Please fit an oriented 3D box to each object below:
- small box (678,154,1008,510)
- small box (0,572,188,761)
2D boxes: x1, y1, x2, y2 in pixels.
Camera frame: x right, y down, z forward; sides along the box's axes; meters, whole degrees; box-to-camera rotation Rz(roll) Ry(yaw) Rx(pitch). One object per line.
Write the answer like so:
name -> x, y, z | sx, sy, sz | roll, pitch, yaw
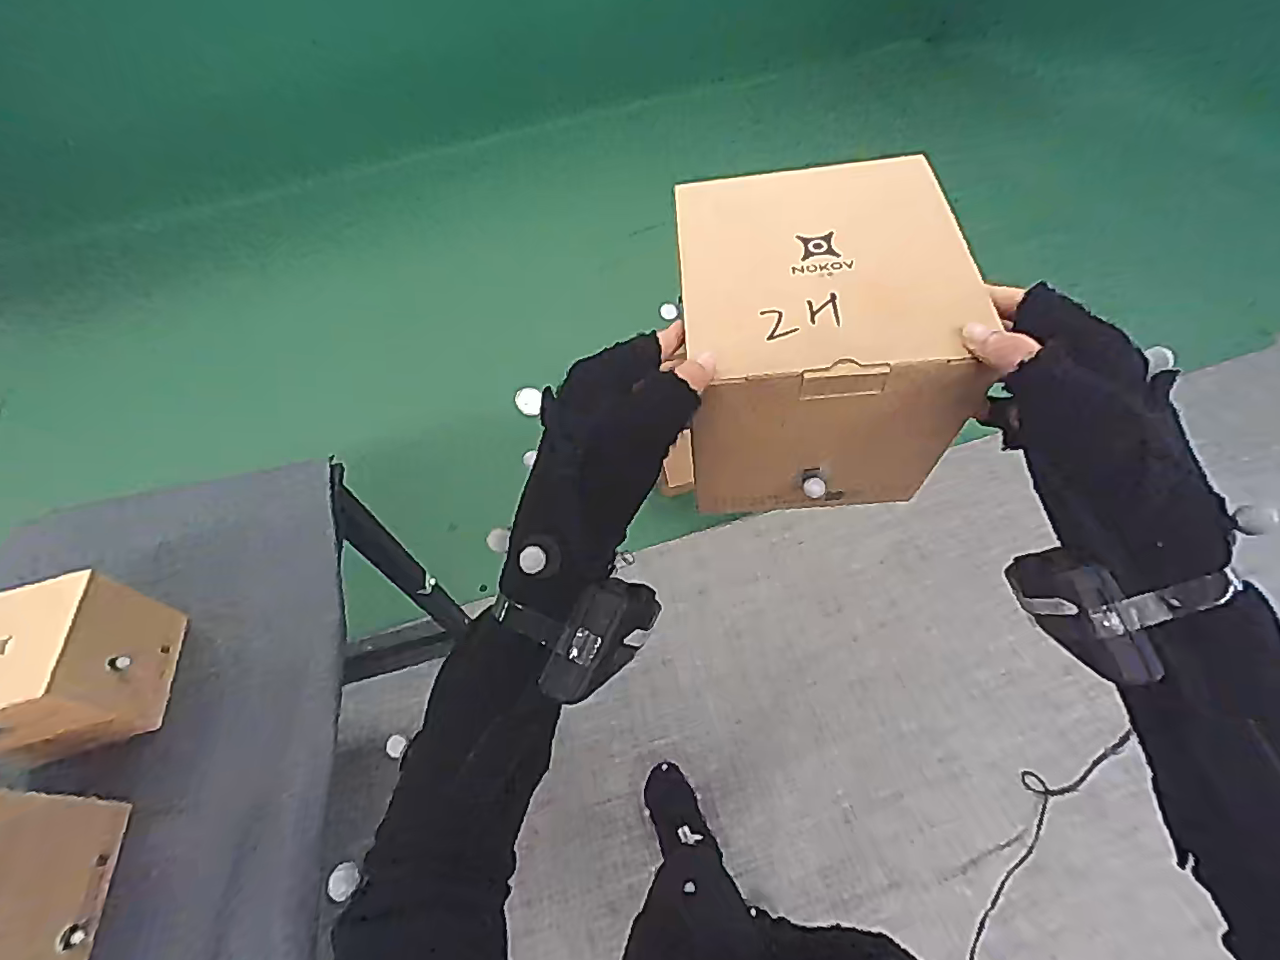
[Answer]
small box -> 0.115, -0.095, 0.390 | 0.168, 0.176, 0.179 | -4, 61, 6
small box -> -0.751, 0.247, 0.707 | 0.179, 0.176, 0.168 | -16, 54, -4
